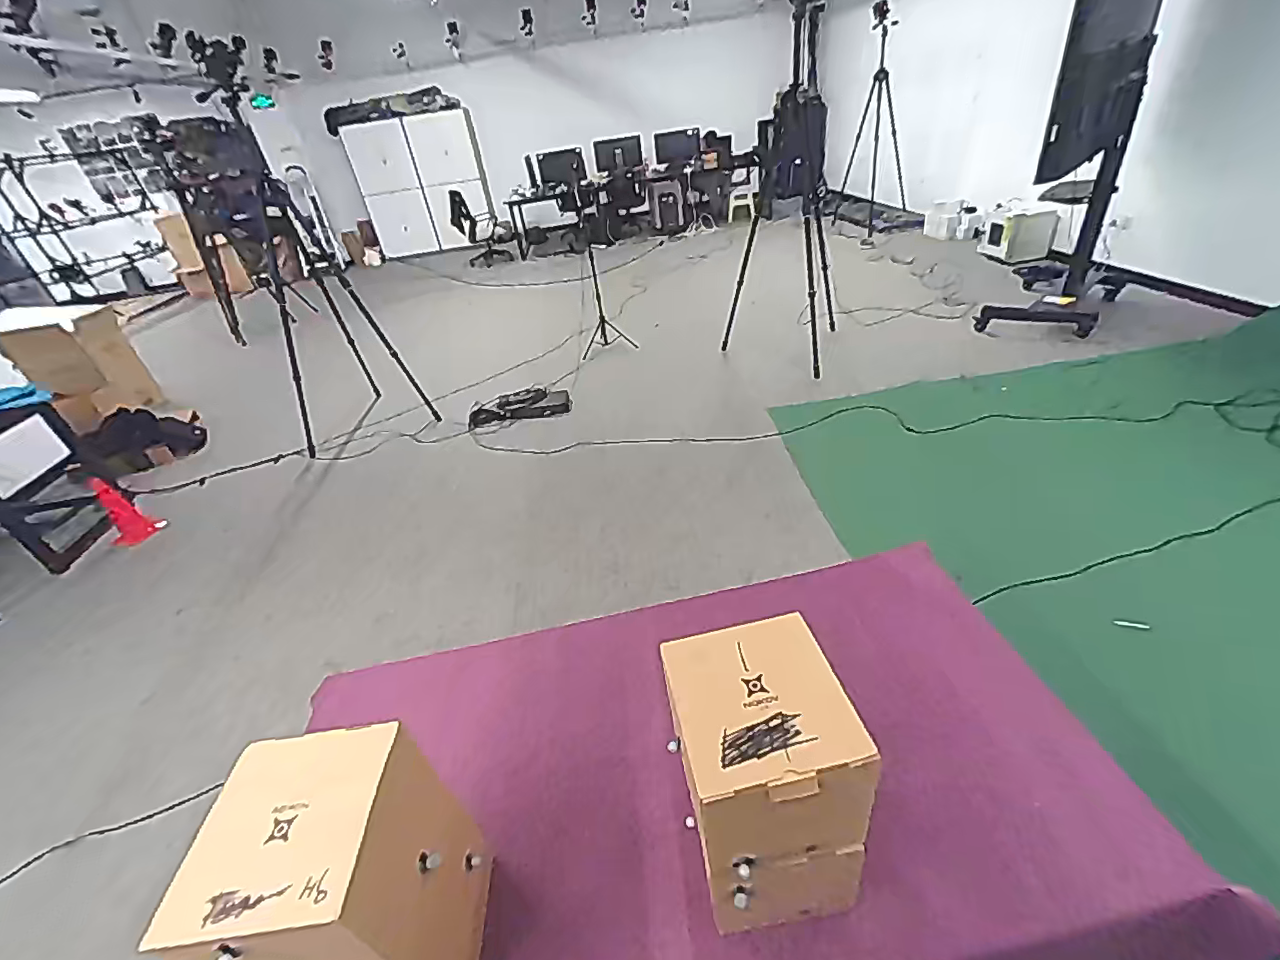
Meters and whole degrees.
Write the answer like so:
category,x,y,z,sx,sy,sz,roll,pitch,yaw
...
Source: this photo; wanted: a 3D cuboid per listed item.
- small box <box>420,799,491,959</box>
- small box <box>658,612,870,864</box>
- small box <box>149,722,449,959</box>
category,x,y,z,sx,sy,sz,roll,pitch,yaw
small box,-0.287,0.517,0.639,0.168,0.176,0.179,-10,35,1
small box,0.125,0.279,0.584,0.168,0.176,0.179,-12,33,-4
small box,-0.311,0.382,0.546,0.168,0.176,0.179,-11,33,2
